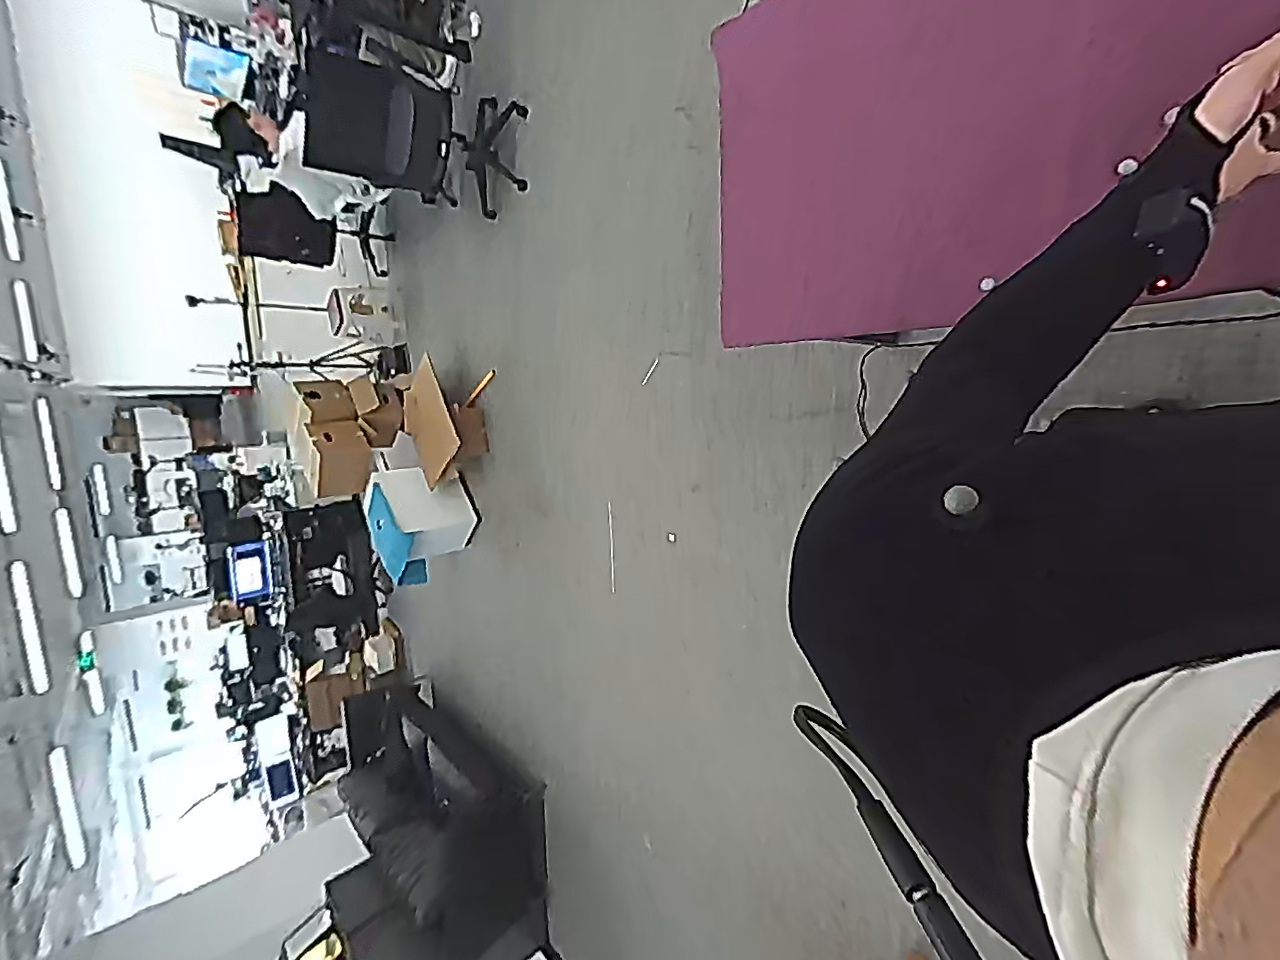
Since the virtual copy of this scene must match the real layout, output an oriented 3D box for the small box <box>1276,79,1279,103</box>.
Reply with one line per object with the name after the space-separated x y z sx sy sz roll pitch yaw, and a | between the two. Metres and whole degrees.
0.657 -0.408 0.434 0.168 0.176 0.179 14 113 49 | small box
